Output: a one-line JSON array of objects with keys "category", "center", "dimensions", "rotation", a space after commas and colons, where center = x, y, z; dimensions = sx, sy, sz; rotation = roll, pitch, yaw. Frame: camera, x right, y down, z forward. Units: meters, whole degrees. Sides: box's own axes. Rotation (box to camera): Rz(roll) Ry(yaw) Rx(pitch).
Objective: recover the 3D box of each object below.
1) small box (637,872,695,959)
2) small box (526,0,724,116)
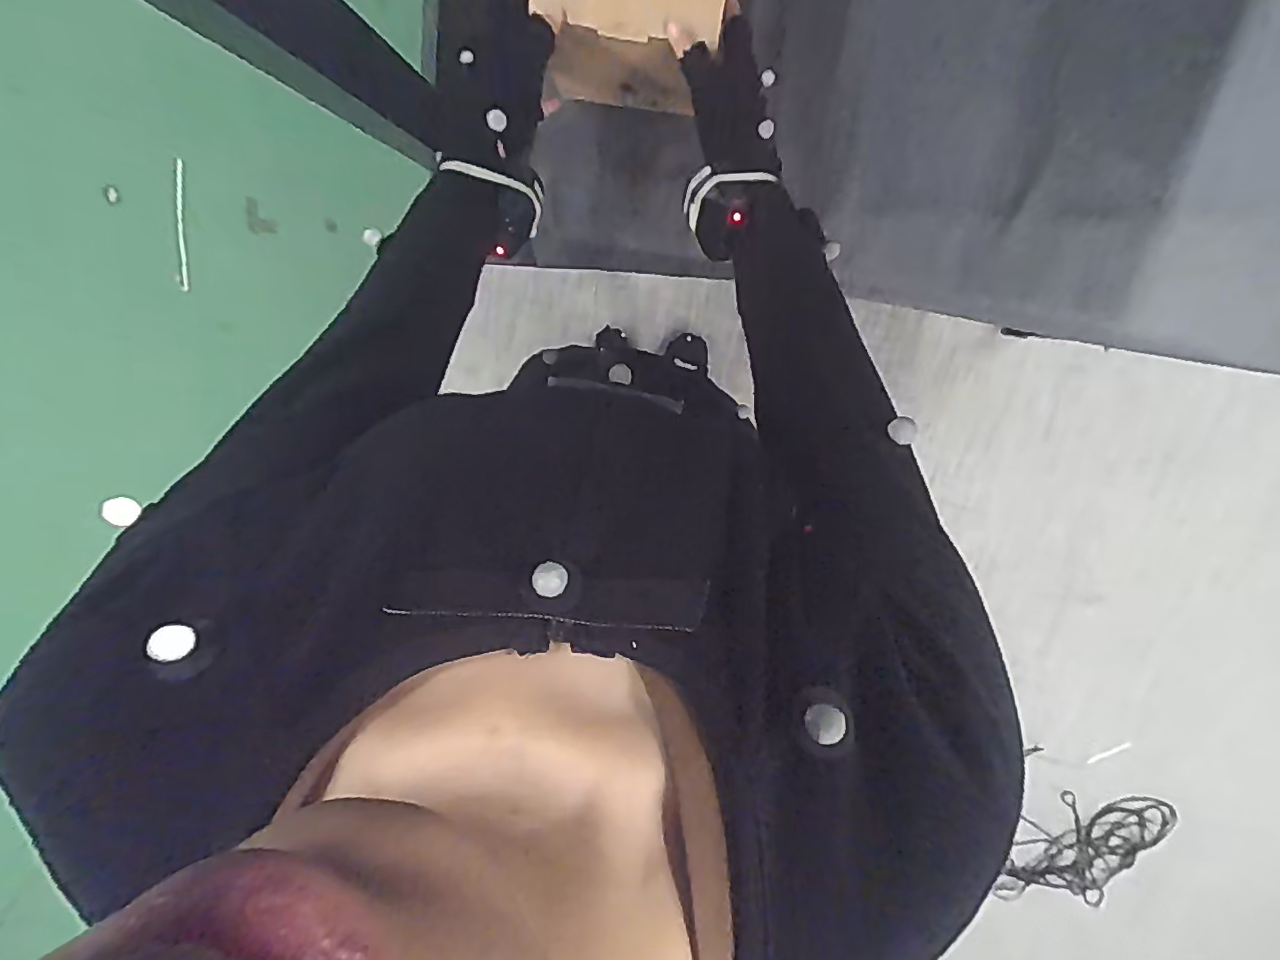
[{"category": "small box", "center": [0.090, 1.499, 1.853], "dimensions": [0.168, 0.176, 0.179], "rotation": [11, 106, 0]}, {"category": "small box", "center": [-0.001, -0.481, 0.509], "dimensions": [0.168, 0.176, 0.179], "rotation": [8, 107, 1]}]
